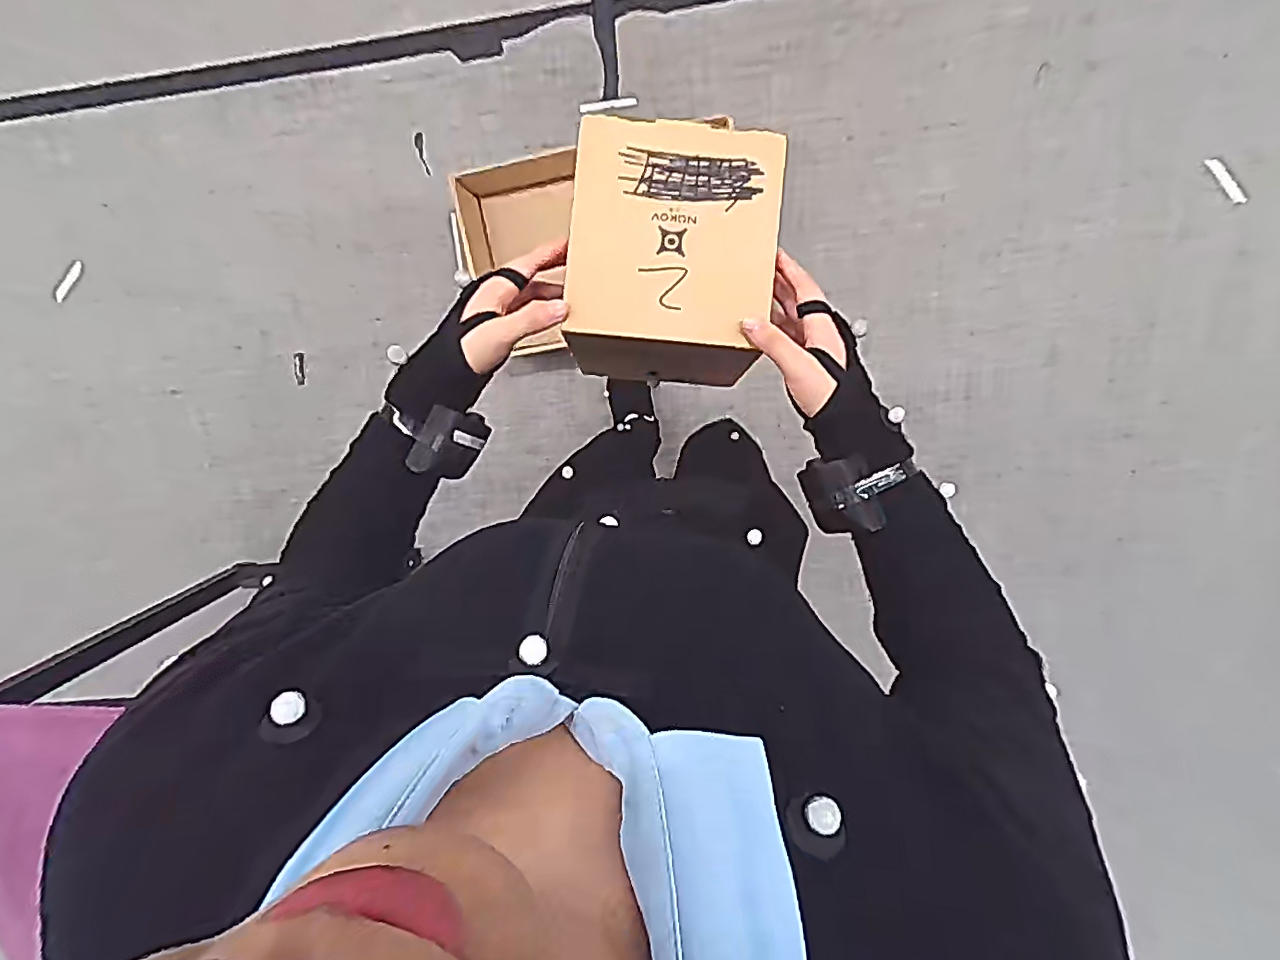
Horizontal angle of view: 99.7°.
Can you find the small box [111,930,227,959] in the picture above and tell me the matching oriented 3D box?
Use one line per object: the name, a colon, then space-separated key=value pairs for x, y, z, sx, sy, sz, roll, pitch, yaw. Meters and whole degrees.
small box: x=-0.847 y=0.922 z=0.931 sx=0.168 sy=0.176 sz=0.179 roll=-4 pitch=104 yaw=5
